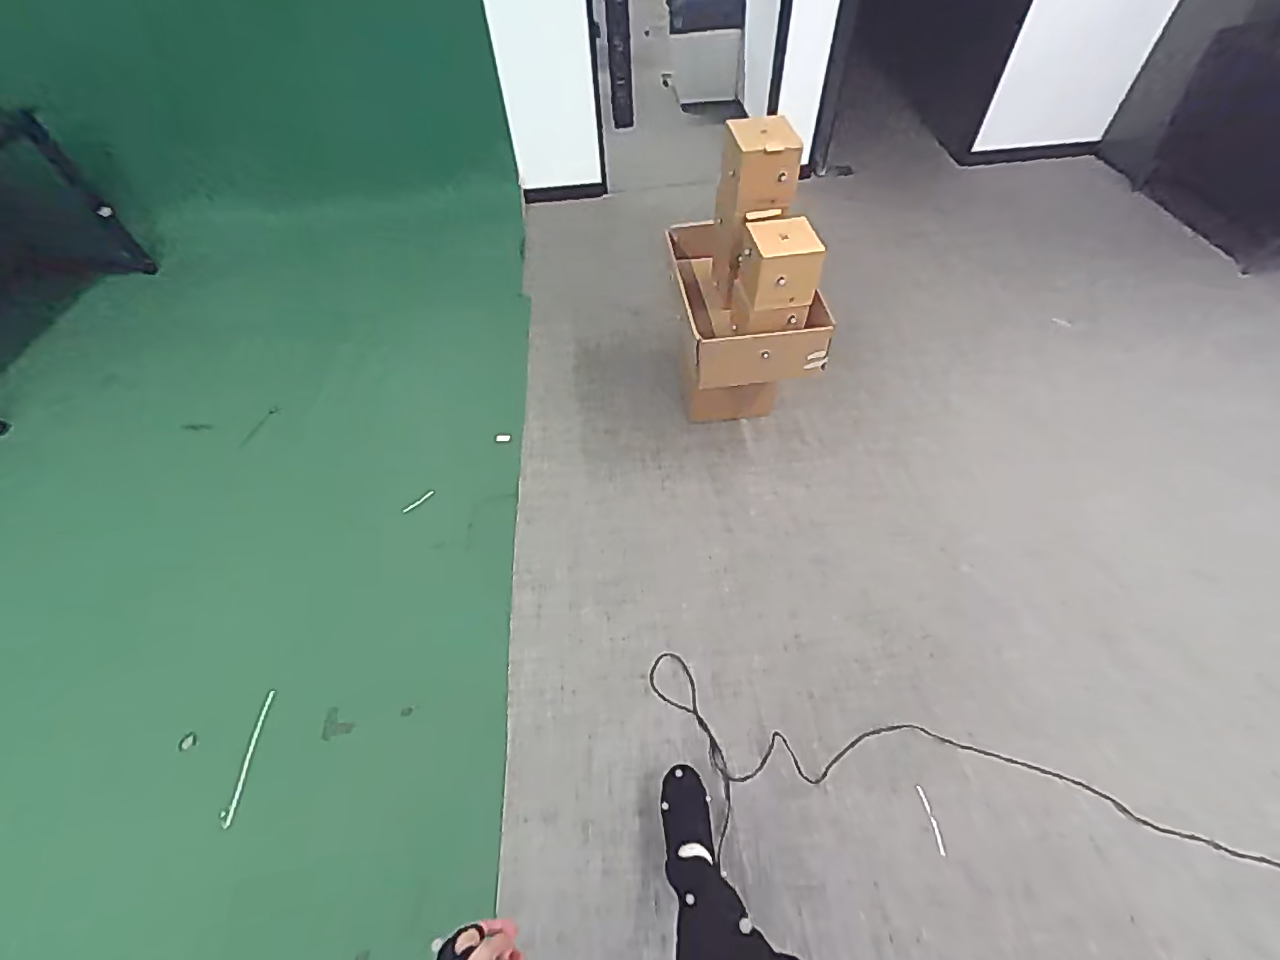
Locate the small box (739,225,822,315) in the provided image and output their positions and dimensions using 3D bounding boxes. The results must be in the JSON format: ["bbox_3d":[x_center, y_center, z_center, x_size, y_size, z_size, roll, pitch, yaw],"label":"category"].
[{"bbox_3d":[0.378,-0.571,1.487,0.168,0.176,0.179,-8,52,-4],"label":"small box"}]

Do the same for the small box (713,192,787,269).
[{"bbox_3d":[0.325,-0.754,1.628,0.168,0.176,0.179,-11,55,-5],"label":"small box"}]

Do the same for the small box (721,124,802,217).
[{"bbox_3d":[0.328,-0.847,1.494,0.168,0.176,0.179,-8,56,-4],"label":"small box"}]
